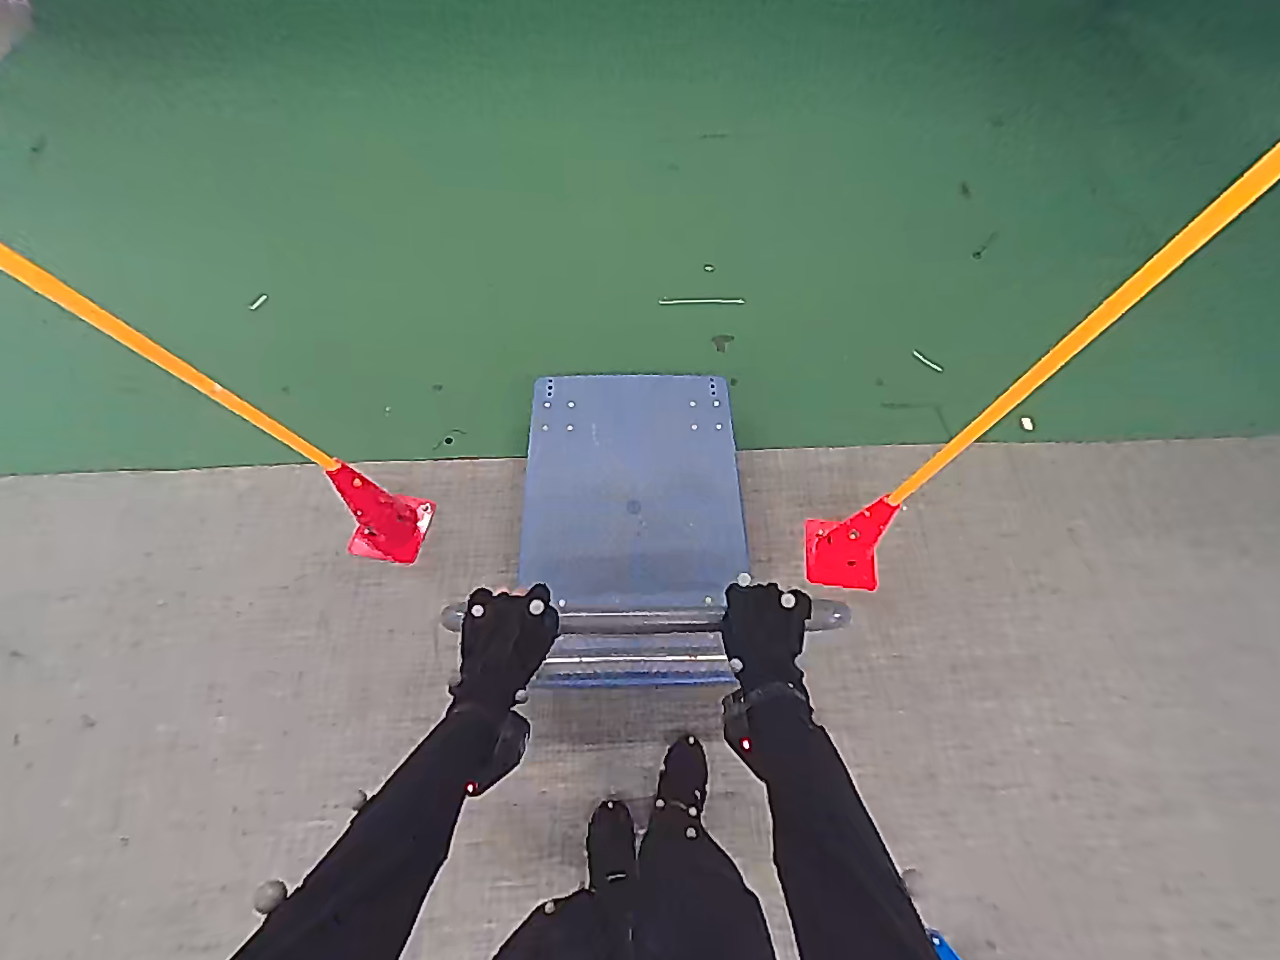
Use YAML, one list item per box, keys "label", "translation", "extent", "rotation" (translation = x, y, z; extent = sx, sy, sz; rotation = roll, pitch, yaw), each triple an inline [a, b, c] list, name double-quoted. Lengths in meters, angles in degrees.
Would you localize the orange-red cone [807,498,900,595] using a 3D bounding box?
- label: "orange-red cone"
  translation: [0.579, 0.142, 1.394]
  extent: [0.198, 0.360, 0.199]
  rotation: [8, 62, 3]
